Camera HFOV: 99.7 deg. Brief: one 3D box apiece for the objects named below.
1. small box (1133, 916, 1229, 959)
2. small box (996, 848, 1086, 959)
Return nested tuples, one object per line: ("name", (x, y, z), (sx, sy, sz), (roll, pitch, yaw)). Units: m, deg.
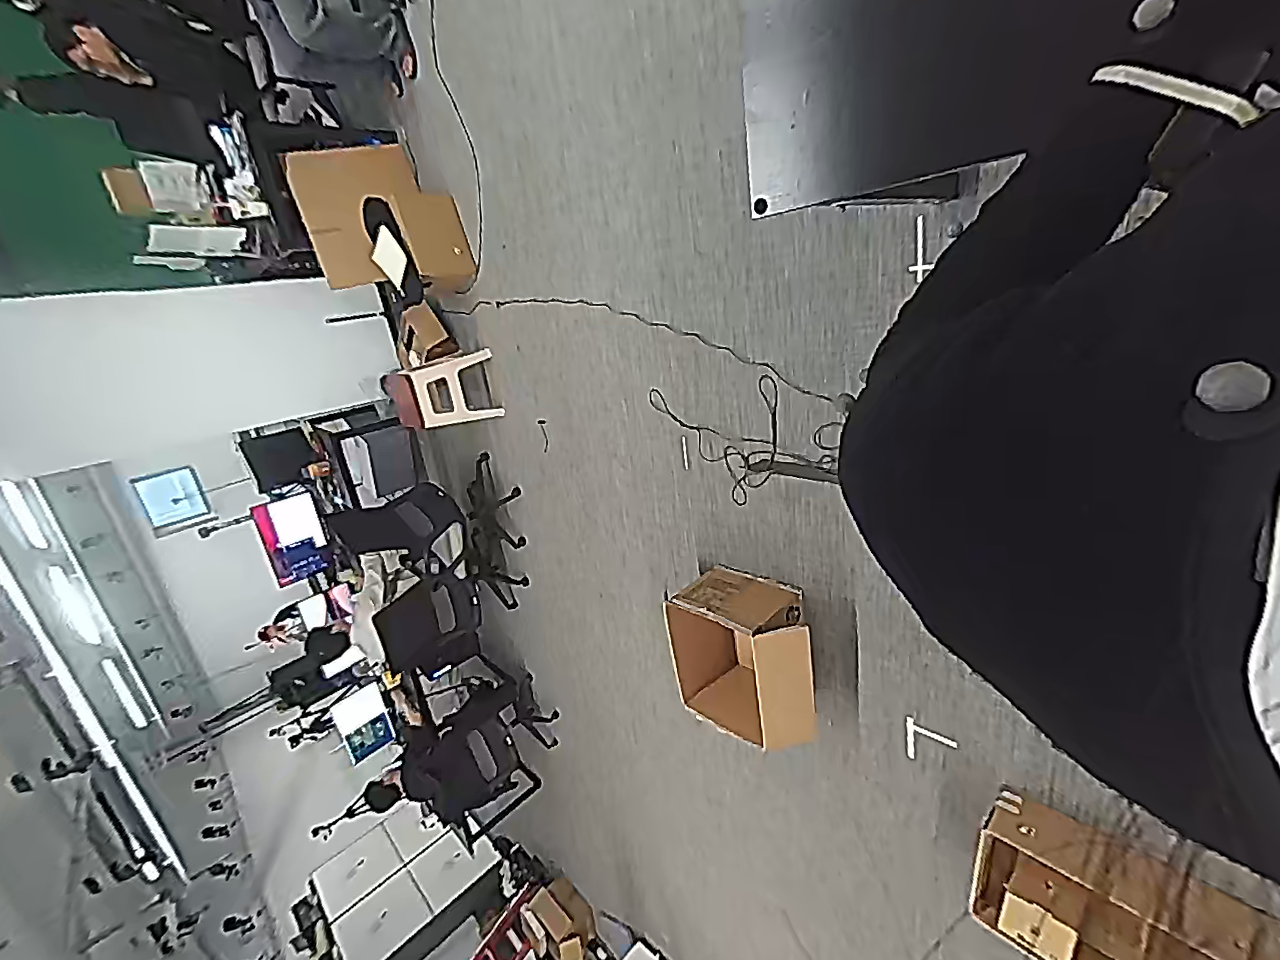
("small box", (1.349, 1.254, 1.341), (0.179, 0.176, 0.168), (15, 118, 46))
("small box", (1.150, 1.216, 1.549), (0.168, 0.176, 0.179), (17, 119, 43))
